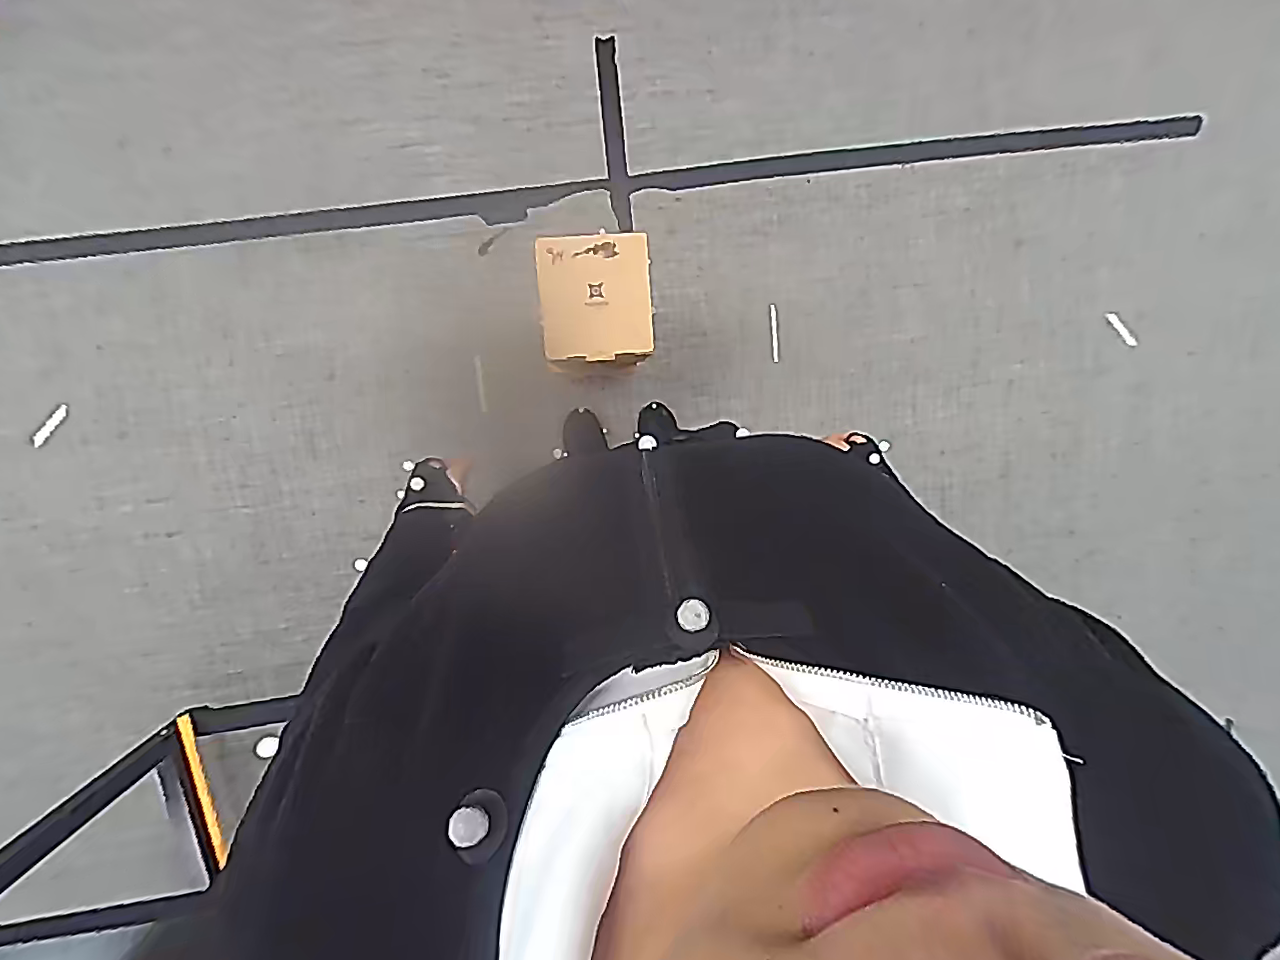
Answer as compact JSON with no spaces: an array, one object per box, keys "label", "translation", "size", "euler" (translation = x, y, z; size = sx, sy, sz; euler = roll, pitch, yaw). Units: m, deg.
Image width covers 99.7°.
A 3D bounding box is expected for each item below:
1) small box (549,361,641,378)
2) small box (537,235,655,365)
[{"label":"small box","translation":[-0.086,-0.287,1.032],"size":[0.168,0.176,0.179],"euler":[-1,100,-3]},{"label":"small box","translation":[-0.066,-0.277,0.868],"size":[0.168,0.176,0.179],"euler":[-4,100,-3]}]
